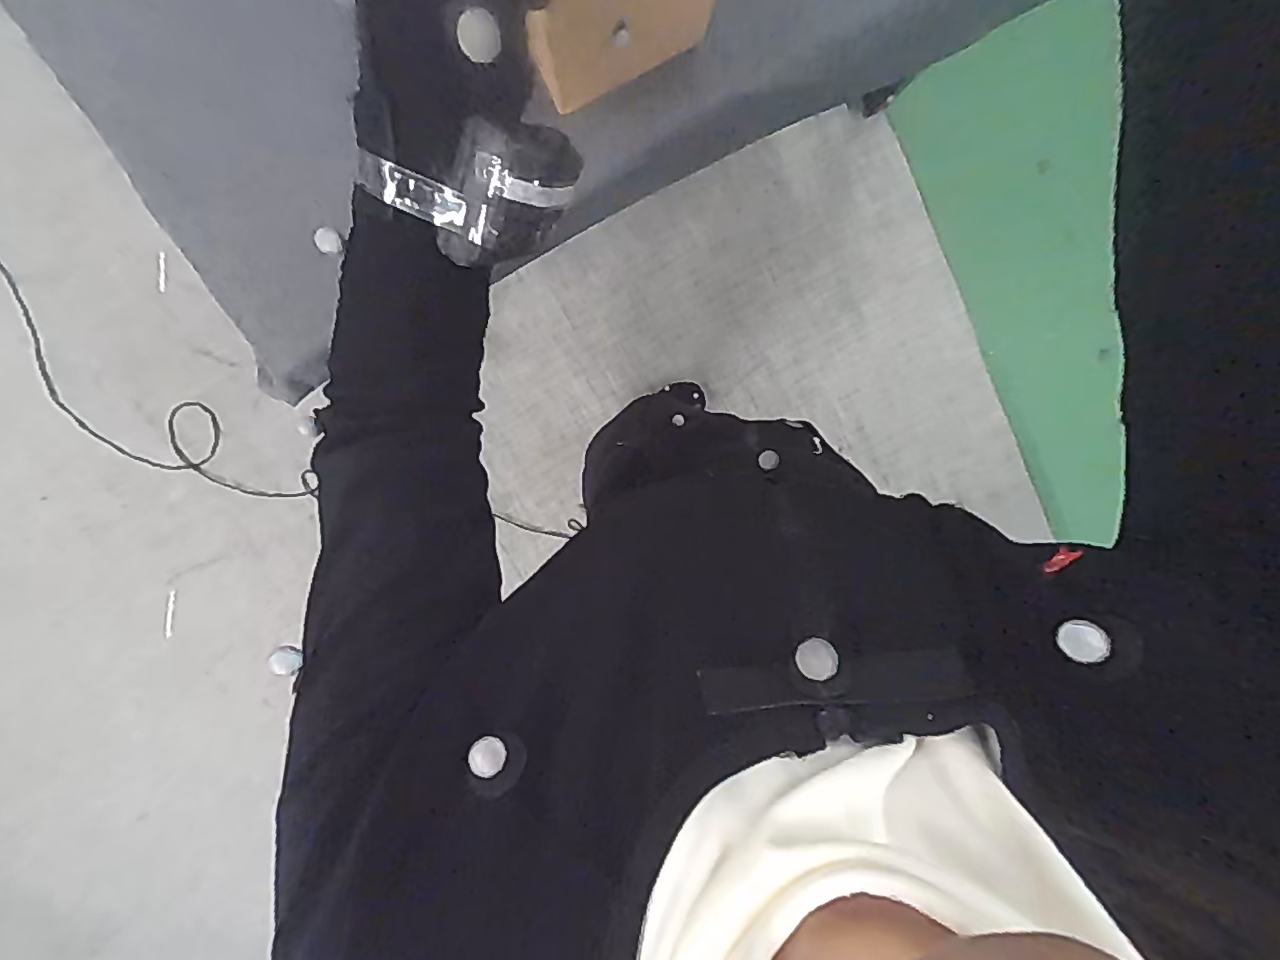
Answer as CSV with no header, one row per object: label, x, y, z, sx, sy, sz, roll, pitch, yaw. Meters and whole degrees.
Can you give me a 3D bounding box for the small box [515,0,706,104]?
small box,-0.041,-0.495,0.495,0.179,0.176,0.168,-26,101,5
